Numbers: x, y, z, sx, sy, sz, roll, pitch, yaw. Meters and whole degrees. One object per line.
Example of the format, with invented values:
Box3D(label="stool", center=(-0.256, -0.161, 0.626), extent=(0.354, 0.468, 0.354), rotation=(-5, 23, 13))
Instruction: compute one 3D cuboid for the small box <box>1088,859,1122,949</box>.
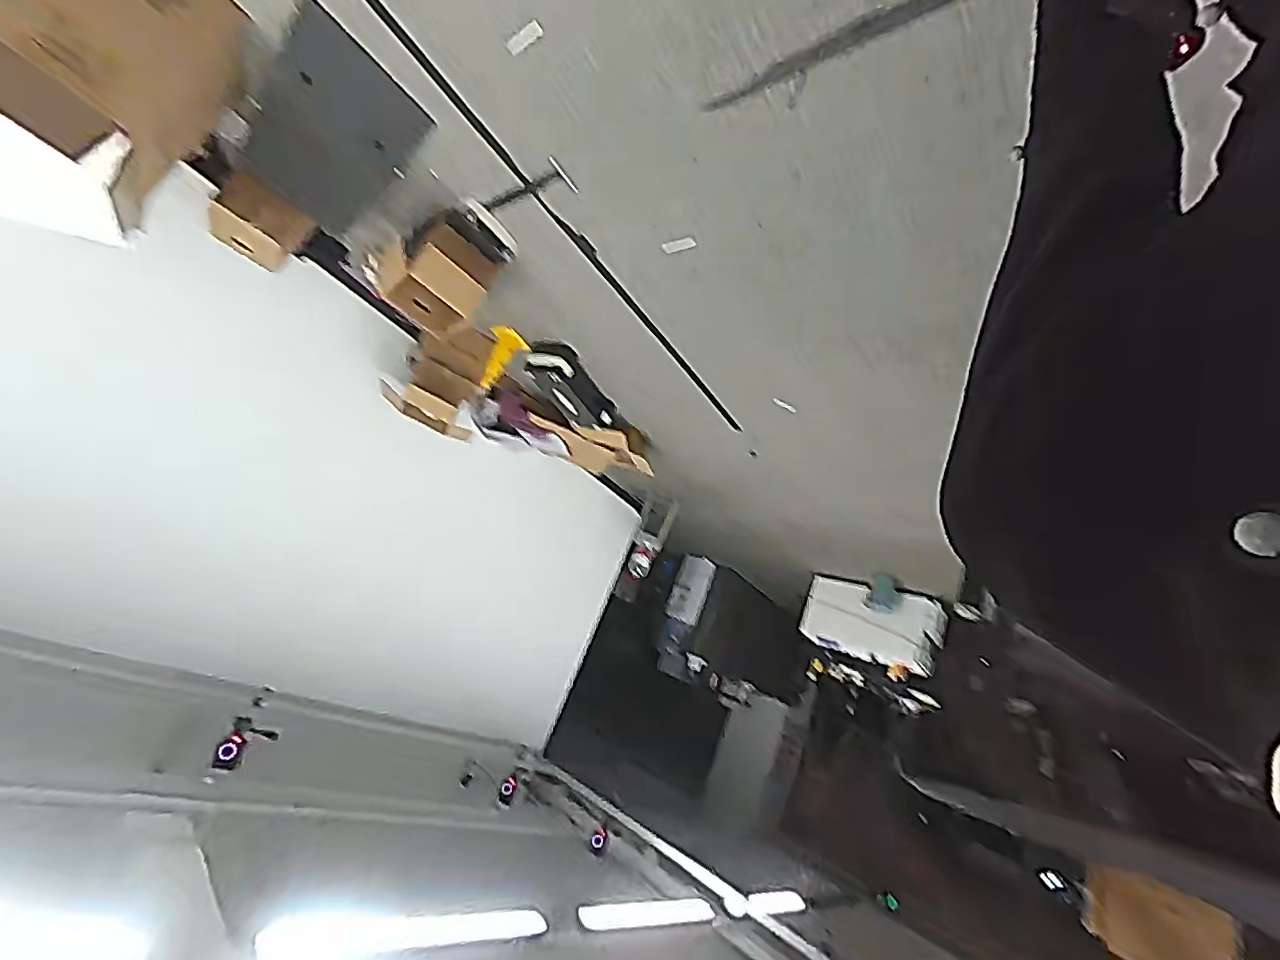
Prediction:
Box3D(label="small box", center=(1.142, 0.994, 1.226), extent=(0.179, 0.176, 0.168), rotation=(7, 157, 41))

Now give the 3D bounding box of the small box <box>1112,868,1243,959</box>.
Box3D(label="small box", center=(1.049, 0.894, 1.054), extent=(0.179, 0.176, 0.168), rotation=(36, 158, -34))
